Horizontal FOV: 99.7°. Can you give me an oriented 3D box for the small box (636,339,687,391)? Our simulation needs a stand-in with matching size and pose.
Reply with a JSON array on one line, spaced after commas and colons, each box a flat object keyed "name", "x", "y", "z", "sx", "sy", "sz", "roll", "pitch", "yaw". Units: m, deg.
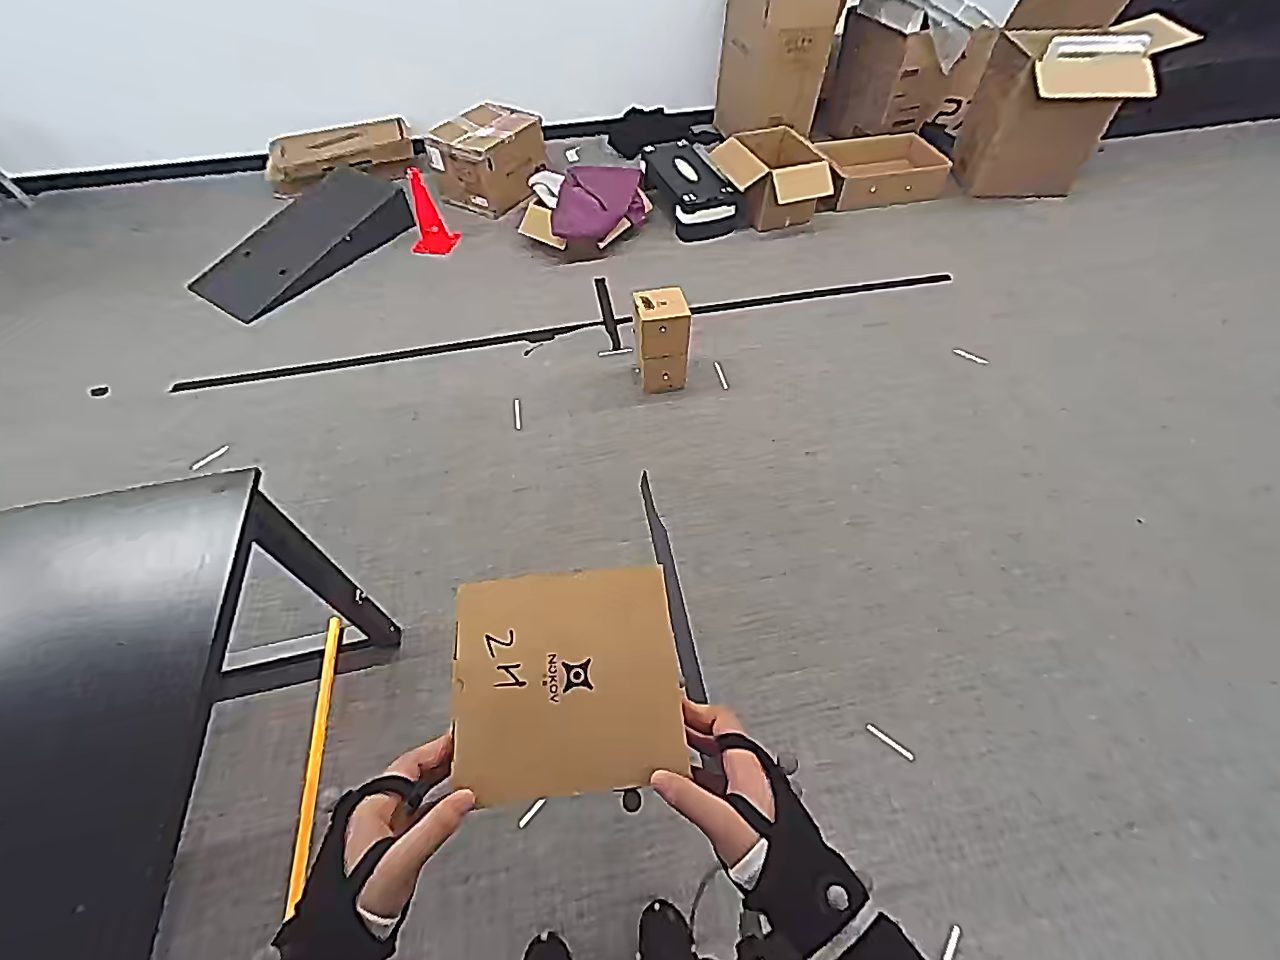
[{"name": "small box", "x": 0.080, "y": -0.455, "z": 2.067, "sx": 0.168, "sy": 0.176, "sz": 0.179, "roll": -8, "pitch": 55, "yaw": -5}]

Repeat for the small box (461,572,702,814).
[{"name": "small box", "x": -0.051, "y": 0.192, "z": 0.492, "sx": 0.179, "sy": 0.176, "sz": 0.168, "roll": -5, "pitch": 63, "yaw": -4}]

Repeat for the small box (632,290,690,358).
[{"name": "small box", "x": 0.073, "y": -0.553, "z": 1.933, "sx": 0.179, "sy": 0.176, "sz": 0.168, "roll": -9, "pitch": 54, "yaw": -7}]
